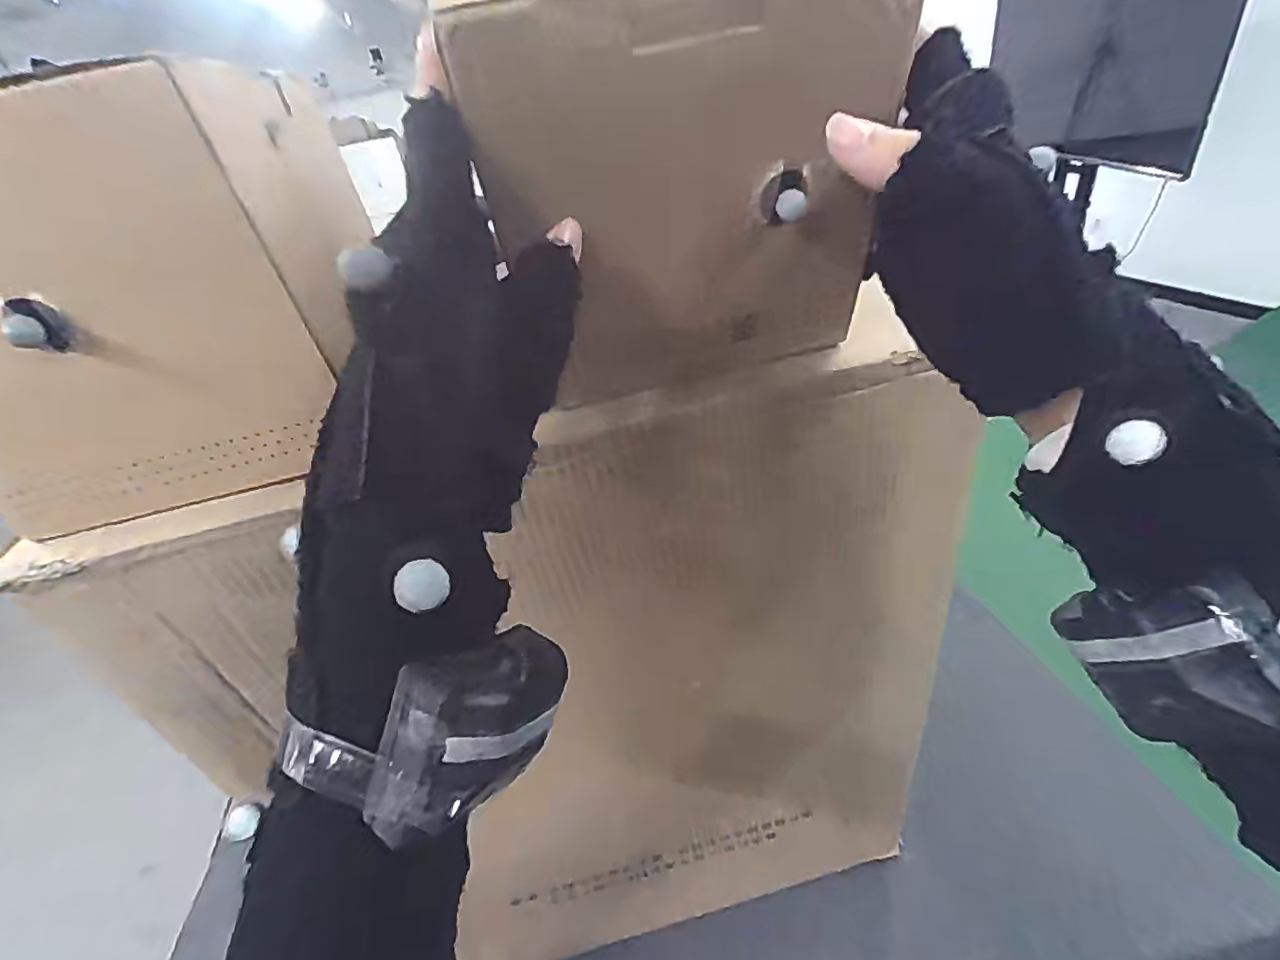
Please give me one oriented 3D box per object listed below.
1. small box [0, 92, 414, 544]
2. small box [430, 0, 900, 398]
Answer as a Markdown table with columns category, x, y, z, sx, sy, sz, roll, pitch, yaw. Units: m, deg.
| category | x | y | z | sx | sy | sz | roll | pitch | yaw |
| --- | --- | --- | --- | --- | --- | --- | --- | --- | --- |
| small box | -0.241 | -0.093 | 0.292 | 0.179 | 0.176 | 0.168 | -15 | 36 | -7 |
| small box | 0.004 | -0.161 | 0.288 | 0.168 | 0.176 | 0.179 | -13 | 50 | -4 |
